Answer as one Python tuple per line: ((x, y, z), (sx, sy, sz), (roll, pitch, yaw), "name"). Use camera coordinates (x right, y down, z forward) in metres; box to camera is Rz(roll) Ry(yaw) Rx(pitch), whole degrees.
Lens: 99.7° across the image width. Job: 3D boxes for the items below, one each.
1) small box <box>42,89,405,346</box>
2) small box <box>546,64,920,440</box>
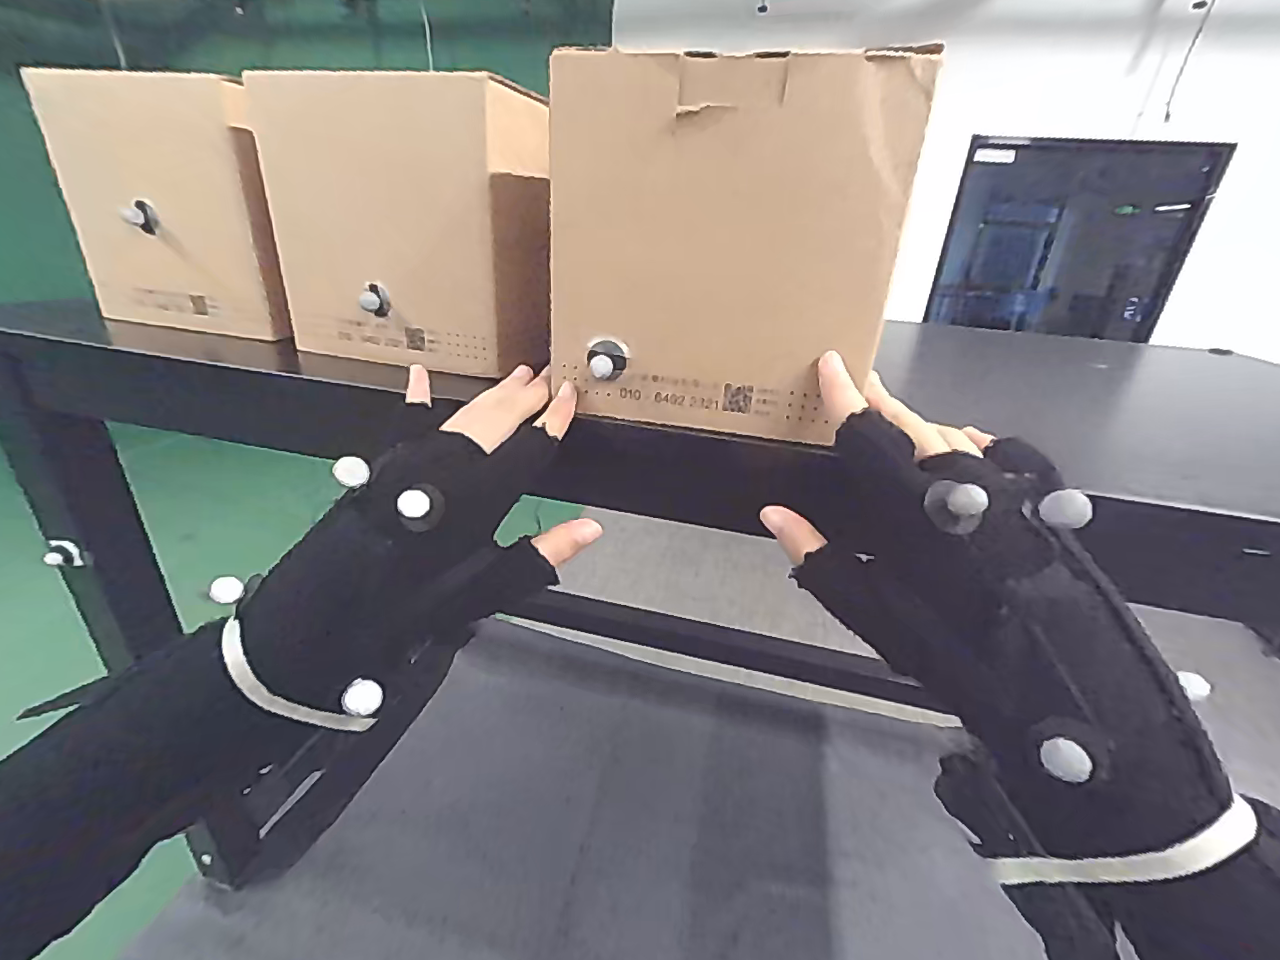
((-0.328, -0.218, 0.471), (0.168, 0.176, 0.179), (10, 25, 11), "small box")
((0.051, -0.133, 0.340), (0.168, 0.176, 0.179), (9, 24, 11), "small box")
